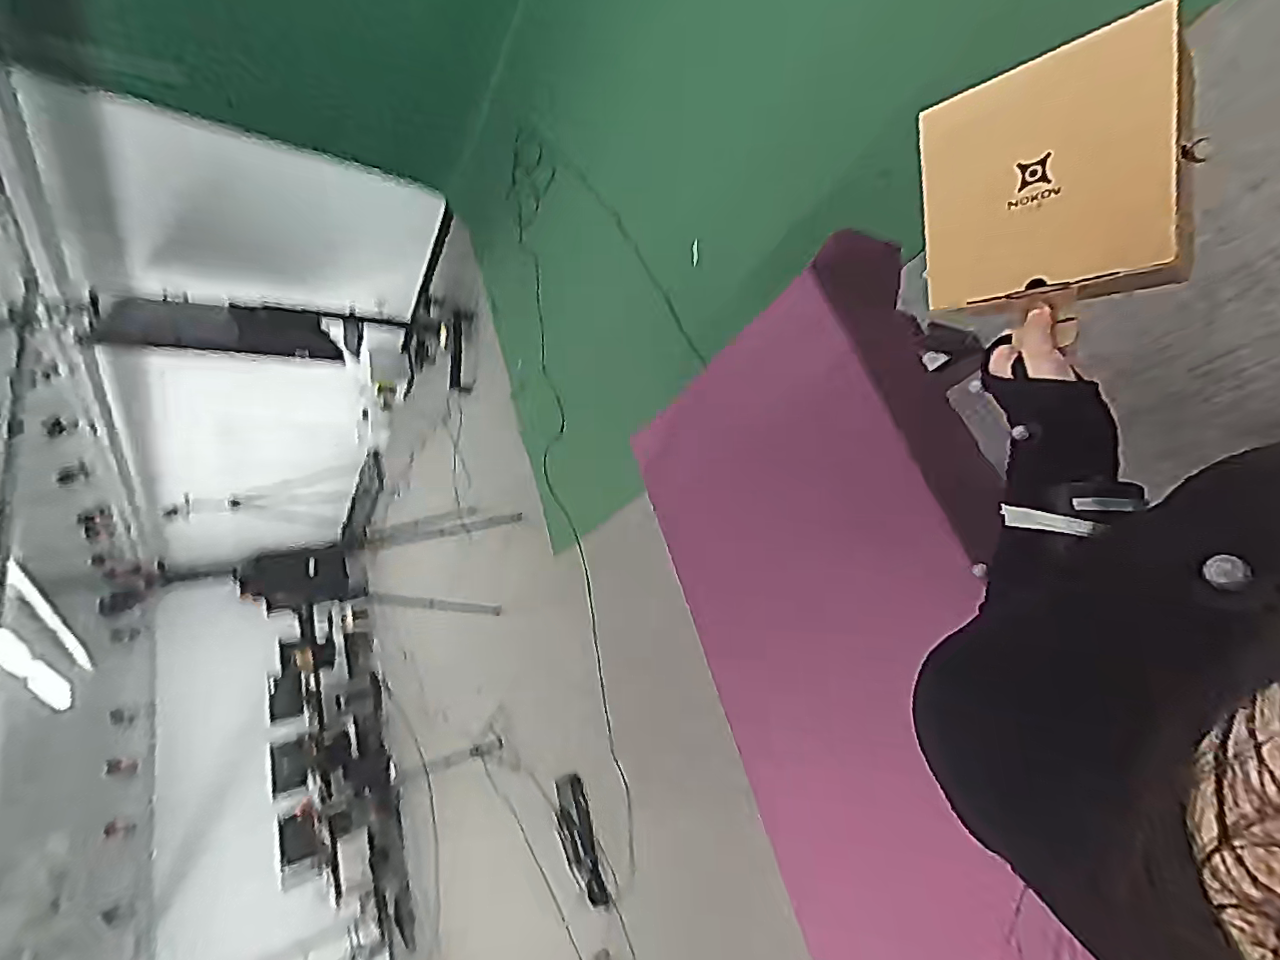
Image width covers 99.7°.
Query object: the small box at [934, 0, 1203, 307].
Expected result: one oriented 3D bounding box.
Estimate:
[{"bbox_3d":[0.378,-0.258,0.481,0.168,0.176,0.179,3,104,47],"label":"small box"}]
